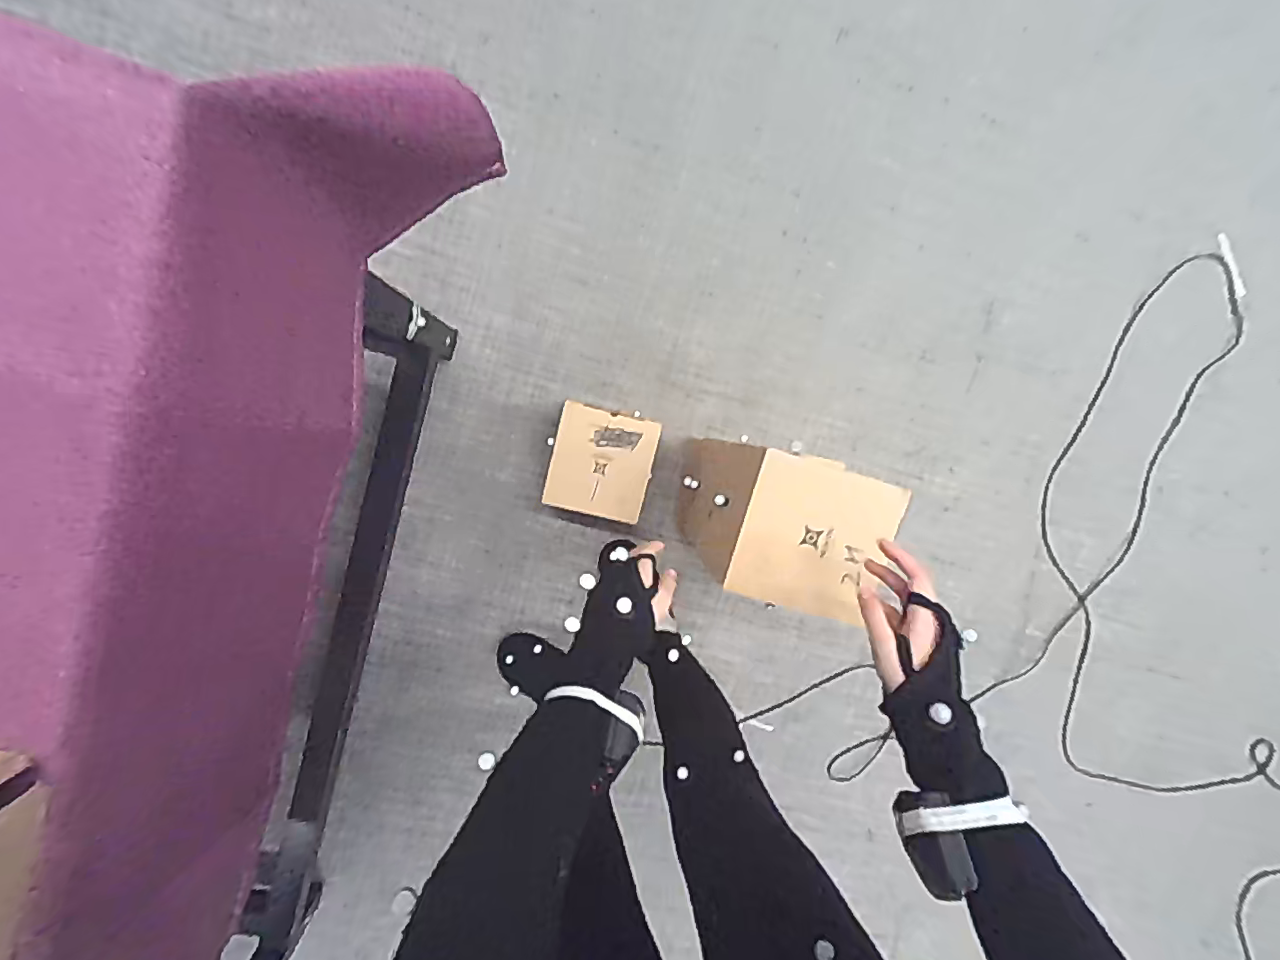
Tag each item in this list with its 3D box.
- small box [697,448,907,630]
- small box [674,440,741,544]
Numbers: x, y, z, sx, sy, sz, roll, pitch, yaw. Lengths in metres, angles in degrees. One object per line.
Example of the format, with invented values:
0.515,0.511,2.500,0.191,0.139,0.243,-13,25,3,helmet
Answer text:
0.185,0.060,0.676,0.179,0.176,0.168,17,95,-7,small box
0.165,0.027,1.003,0.168,0.176,0.179,10,95,-7,small box
